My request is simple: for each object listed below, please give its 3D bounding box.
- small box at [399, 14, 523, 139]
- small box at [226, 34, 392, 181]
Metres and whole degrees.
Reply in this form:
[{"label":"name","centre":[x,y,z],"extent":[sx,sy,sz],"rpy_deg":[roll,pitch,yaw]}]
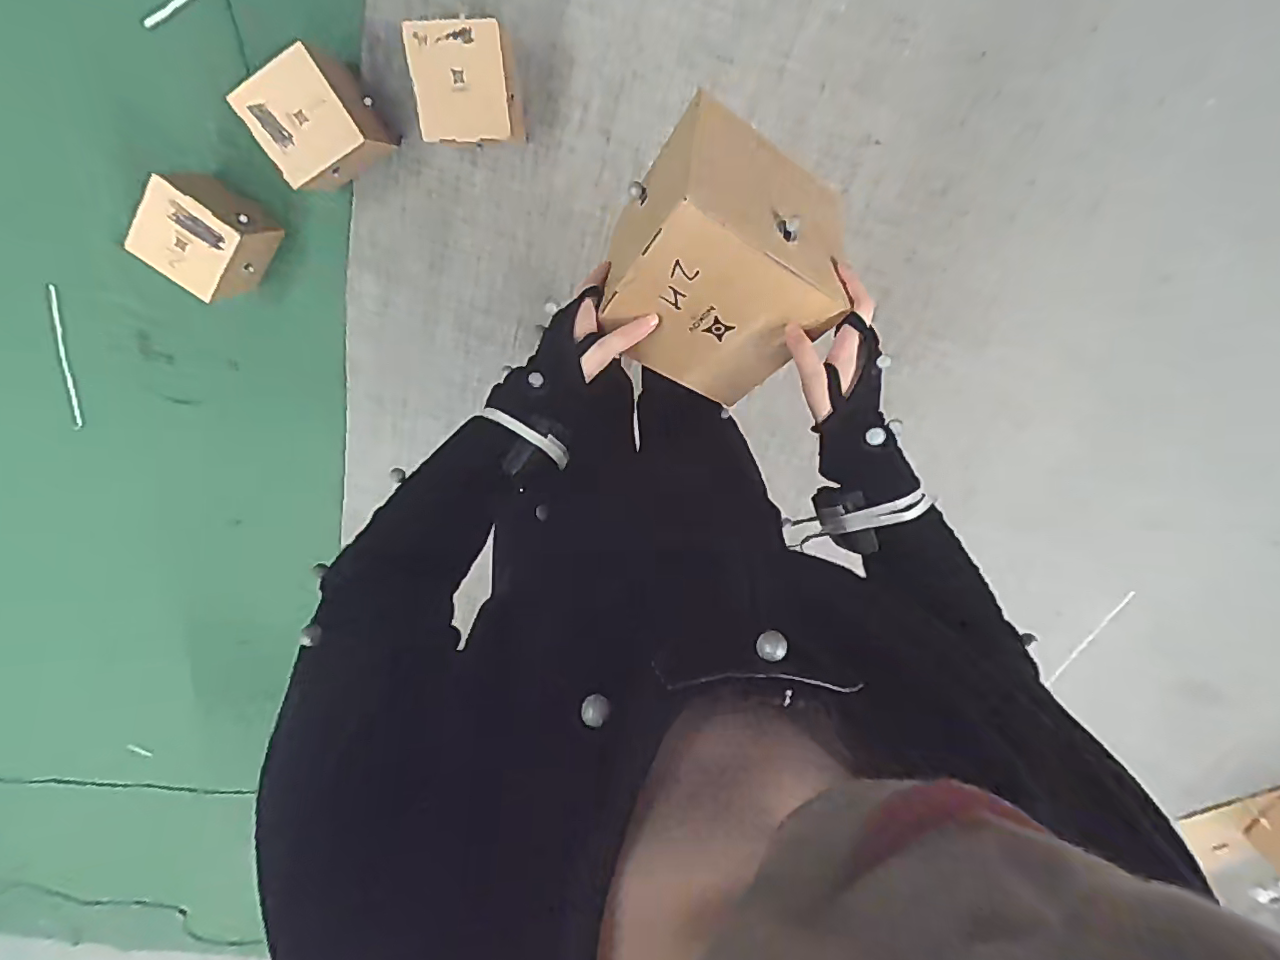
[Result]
[{"label":"small box","centre":[-0.321,-0.743,1.013],"extent":[0.168,0.176,0.179],"rpy_deg":[-2,120,-1]},{"label":"small box","centre":[-0.616,-0.693,1.032],"extent":[0.179,0.176,0.168],"rpy_deg":[-25,117,11]}]
